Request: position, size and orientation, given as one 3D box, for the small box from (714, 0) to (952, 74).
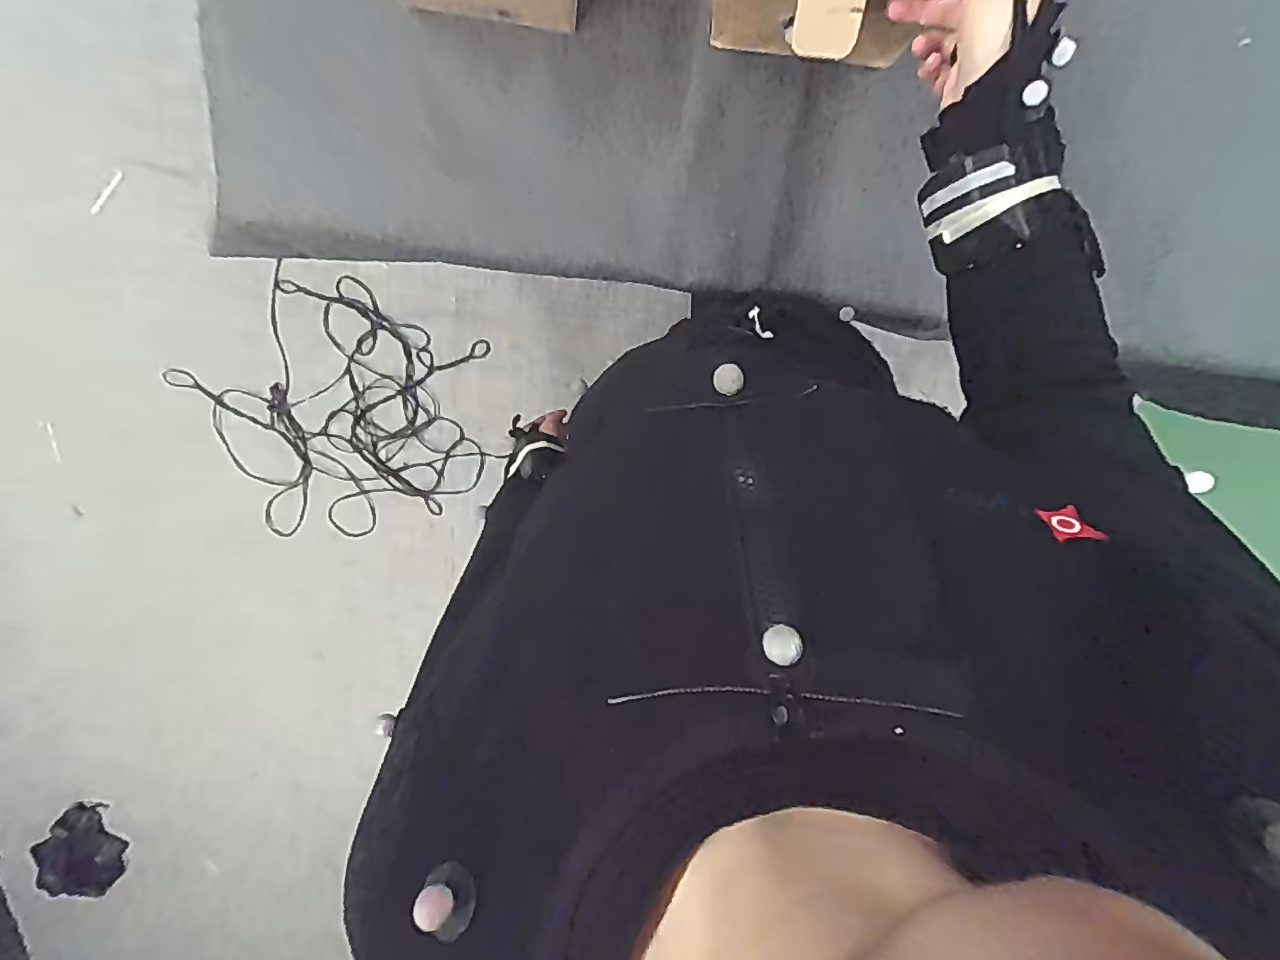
[{"bbox_3d":[0.148,-0.433,0.385,0.168,0.176,0.179,9,110,3],"label":"small box"}]
